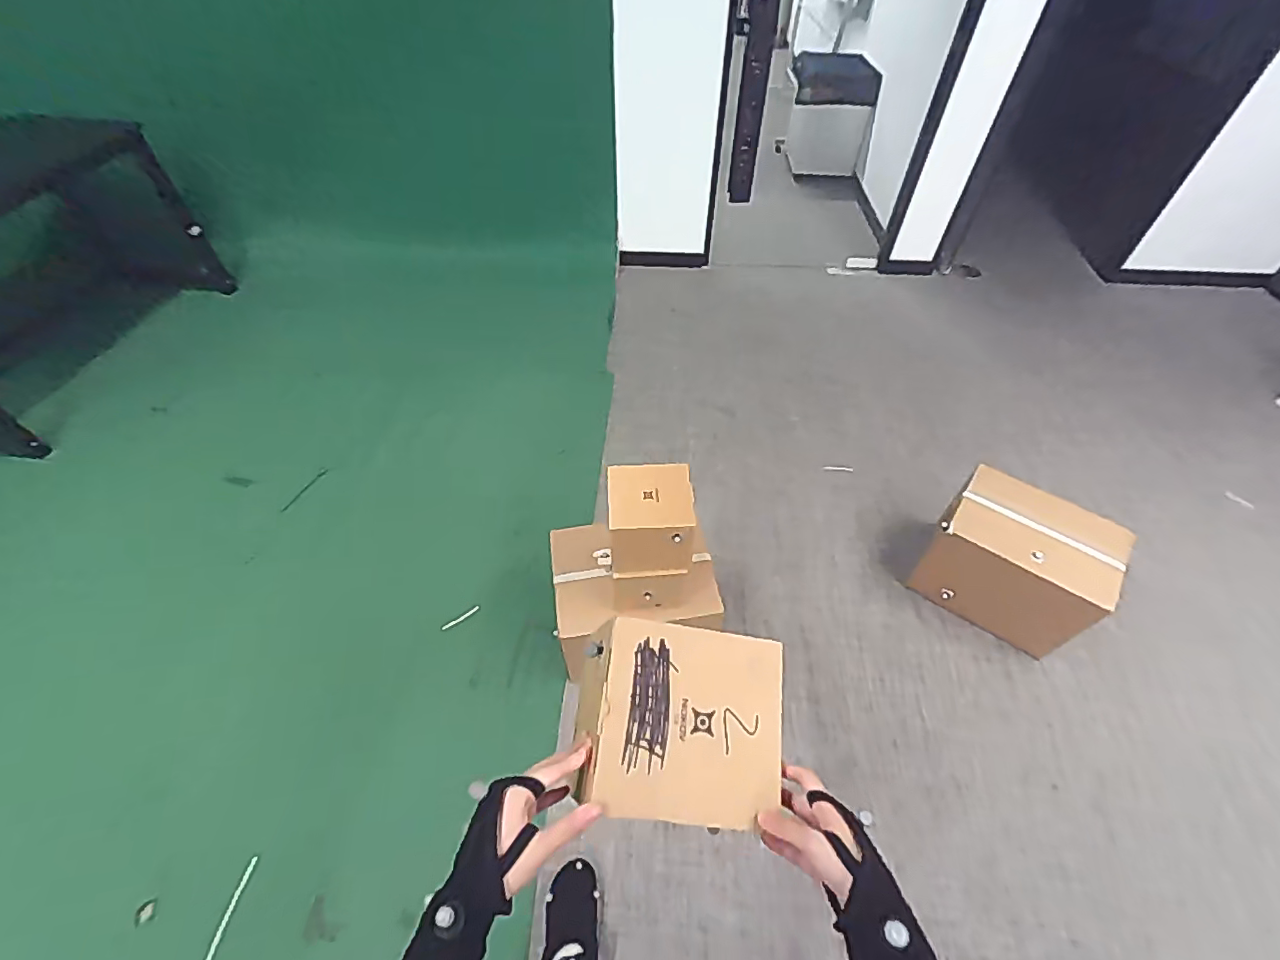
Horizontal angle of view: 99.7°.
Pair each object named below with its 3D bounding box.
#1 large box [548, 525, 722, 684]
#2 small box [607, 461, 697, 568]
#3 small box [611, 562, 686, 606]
[{"bbox_3d":[-0.022,0.325,1.482,0.408,0.320,0.320,-8,50,-6],"label":"large box"},{"bbox_3d":[0.020,0.078,1.157,0.179,0.176,0.168,-2,50,-4],"label":"small box"},{"bbox_3d":[0.013,0.187,1.277,0.168,0.176,0.179,-3,50,-4],"label":"small box"}]
